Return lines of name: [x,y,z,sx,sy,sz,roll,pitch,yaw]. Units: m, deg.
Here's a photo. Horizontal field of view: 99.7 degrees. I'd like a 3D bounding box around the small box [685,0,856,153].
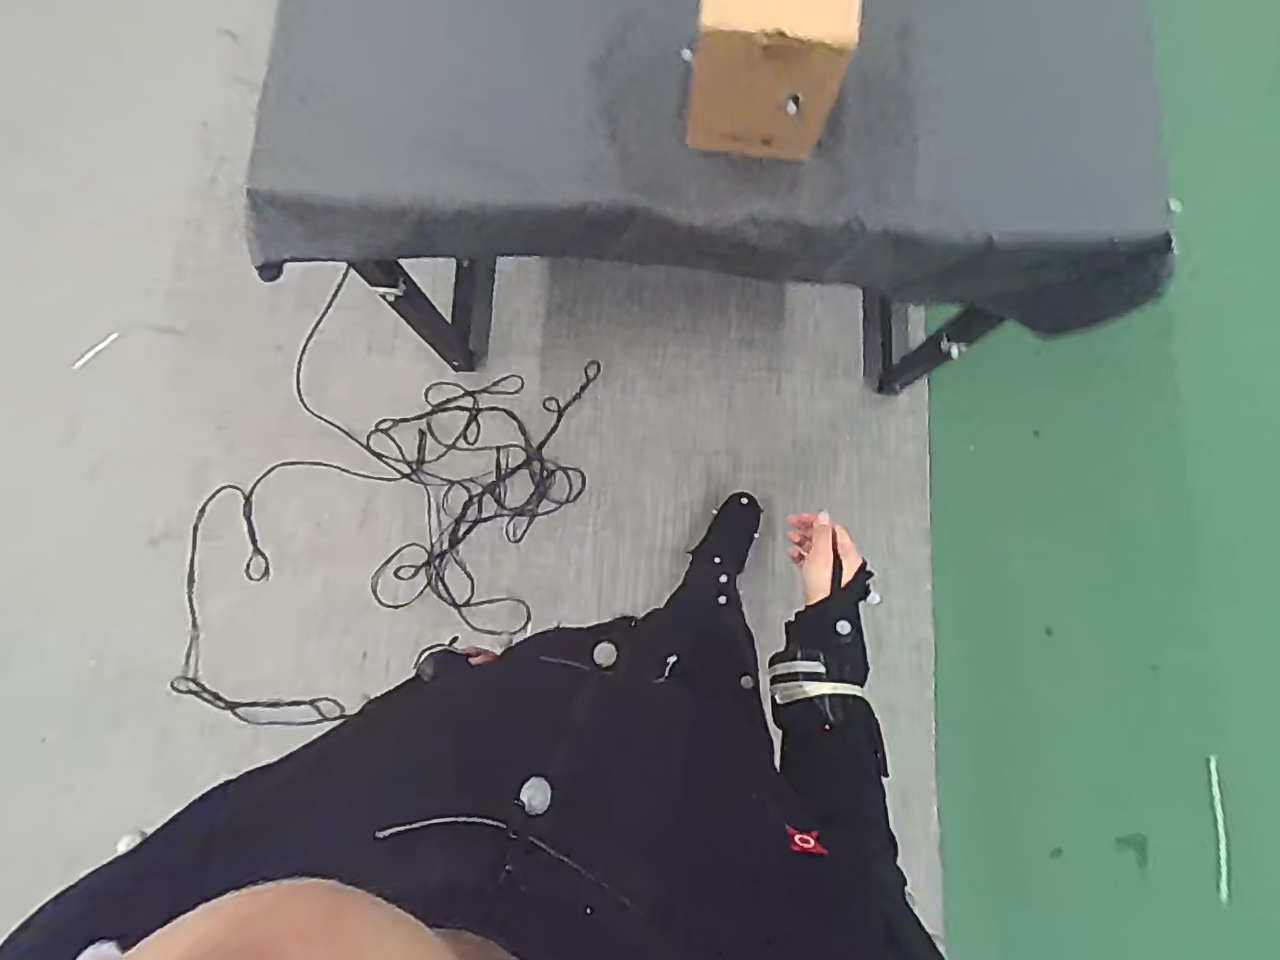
small box: [0.148,-0.531,0.648,0.168,0.176,0.179,6,80,0]
